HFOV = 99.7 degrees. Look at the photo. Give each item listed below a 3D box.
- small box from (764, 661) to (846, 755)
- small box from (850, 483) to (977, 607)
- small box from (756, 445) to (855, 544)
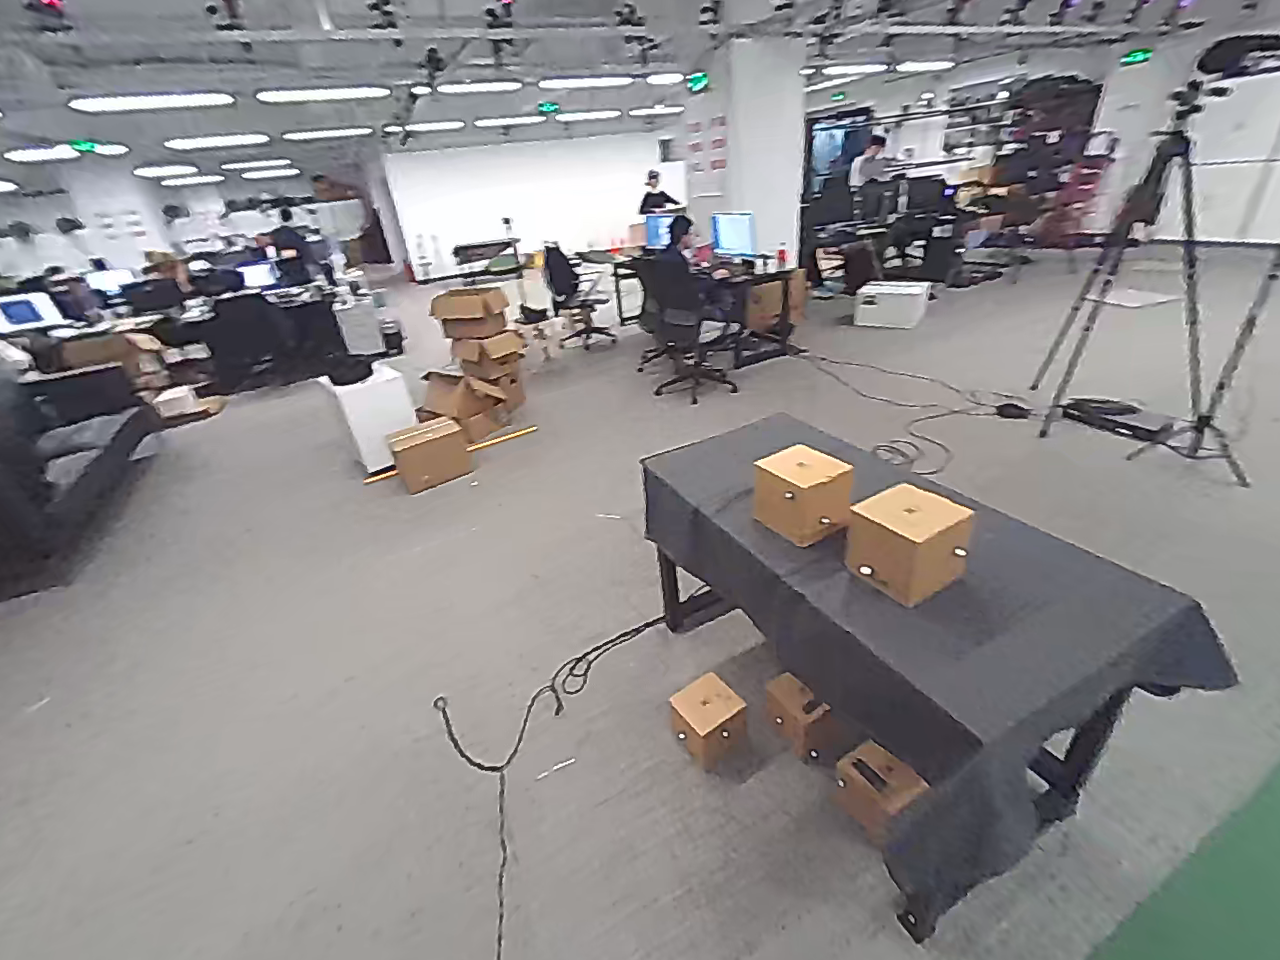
[{"bbox_3d":[0.497,0.698,1.642,0.168,0.176,0.179,-19,30,-22],"label":"small box"},{"bbox_3d":[0.568,0.134,1.144,0.179,0.176,0.168,-20,31,-22],"label":"small box"},{"bbox_3d":[0.407,0.034,1.355,0.168,0.176,0.179,-21,33,-24],"label":"small box"}]
